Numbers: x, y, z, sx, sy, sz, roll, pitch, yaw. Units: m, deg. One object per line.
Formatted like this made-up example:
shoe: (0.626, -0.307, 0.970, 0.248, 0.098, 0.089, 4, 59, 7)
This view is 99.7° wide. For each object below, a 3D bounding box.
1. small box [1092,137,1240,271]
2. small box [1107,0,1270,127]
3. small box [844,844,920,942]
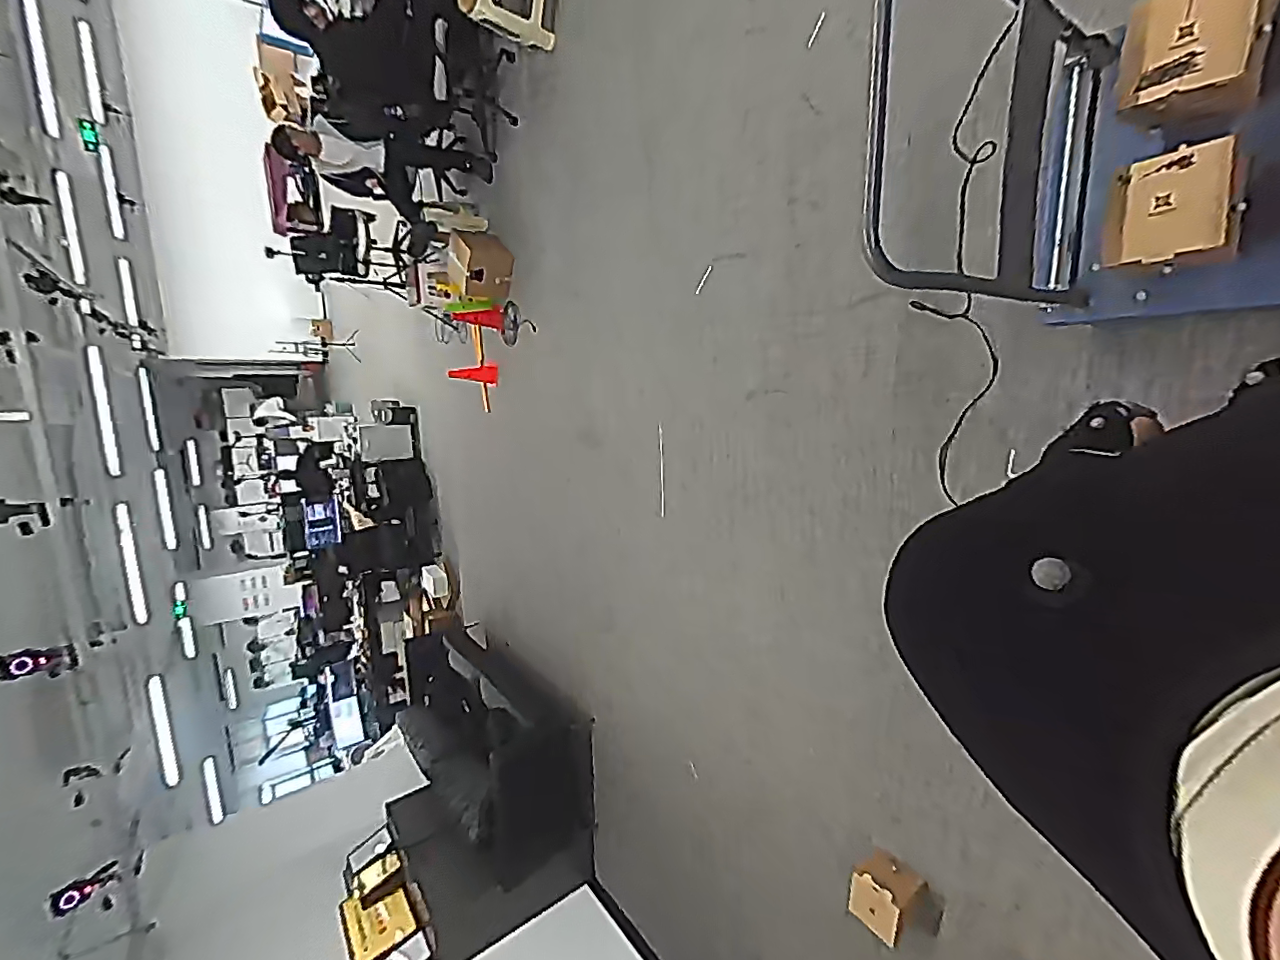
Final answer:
small box: (0.972, -0.494, 1.000, 0.168, 0.176, 0.179, 9, 104, 53)
small box: (0.968, -0.753, 0.955, 0.168, 0.176, 0.179, 16, 109, 51)
small box: (0.838, 1.418, 1.867, 0.168, 0.176, 0.179, 27, 116, 45)
